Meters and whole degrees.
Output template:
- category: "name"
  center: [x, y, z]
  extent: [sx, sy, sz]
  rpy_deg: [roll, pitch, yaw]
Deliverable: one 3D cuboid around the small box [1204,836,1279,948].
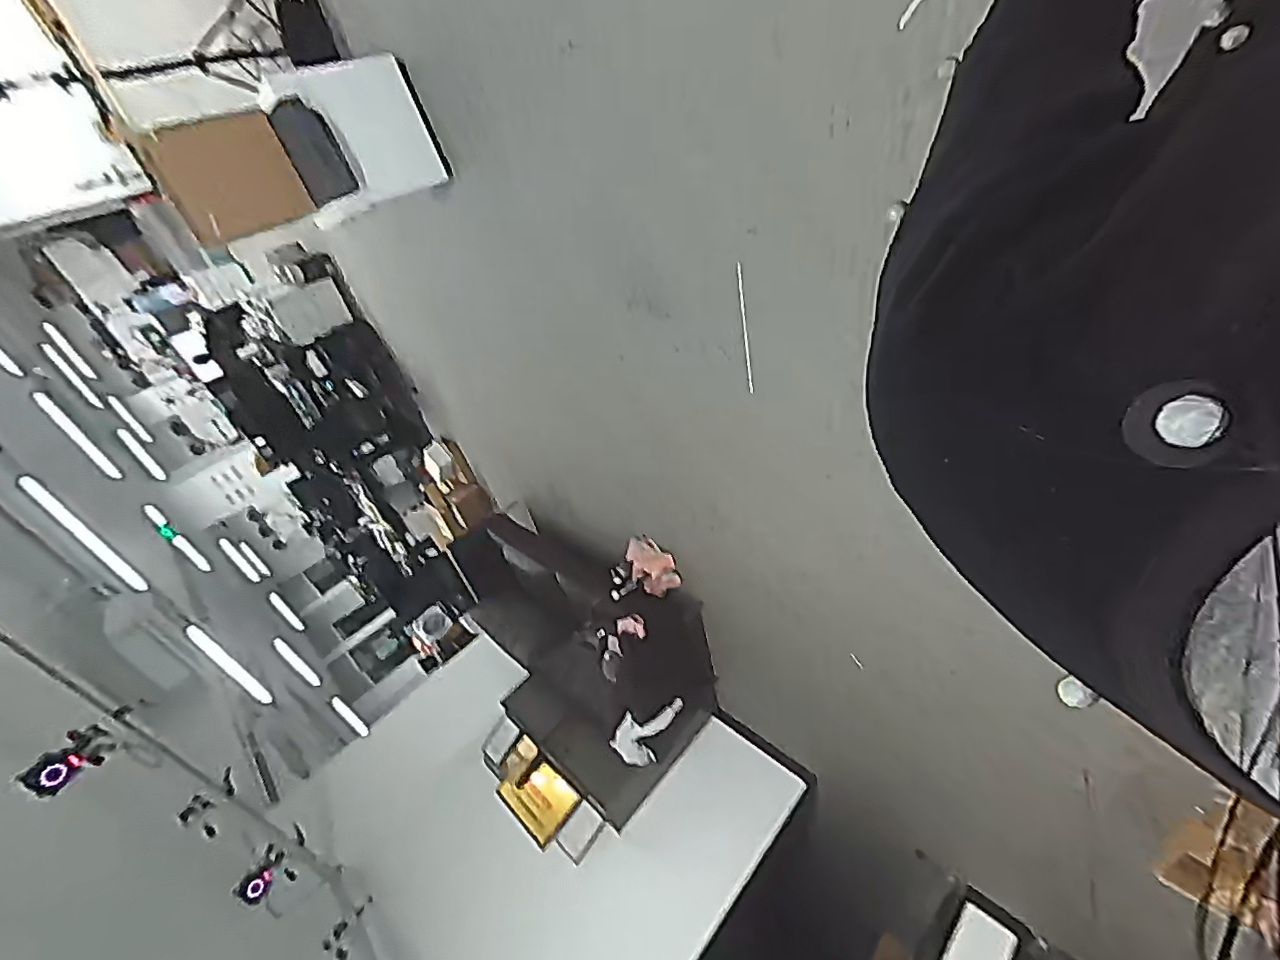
- category: "small box"
  center: [1.785, 1.180, 1.556]
  extent: [0.168, 0.176, 0.179]
  rpy_deg: [24, 139, 38]
